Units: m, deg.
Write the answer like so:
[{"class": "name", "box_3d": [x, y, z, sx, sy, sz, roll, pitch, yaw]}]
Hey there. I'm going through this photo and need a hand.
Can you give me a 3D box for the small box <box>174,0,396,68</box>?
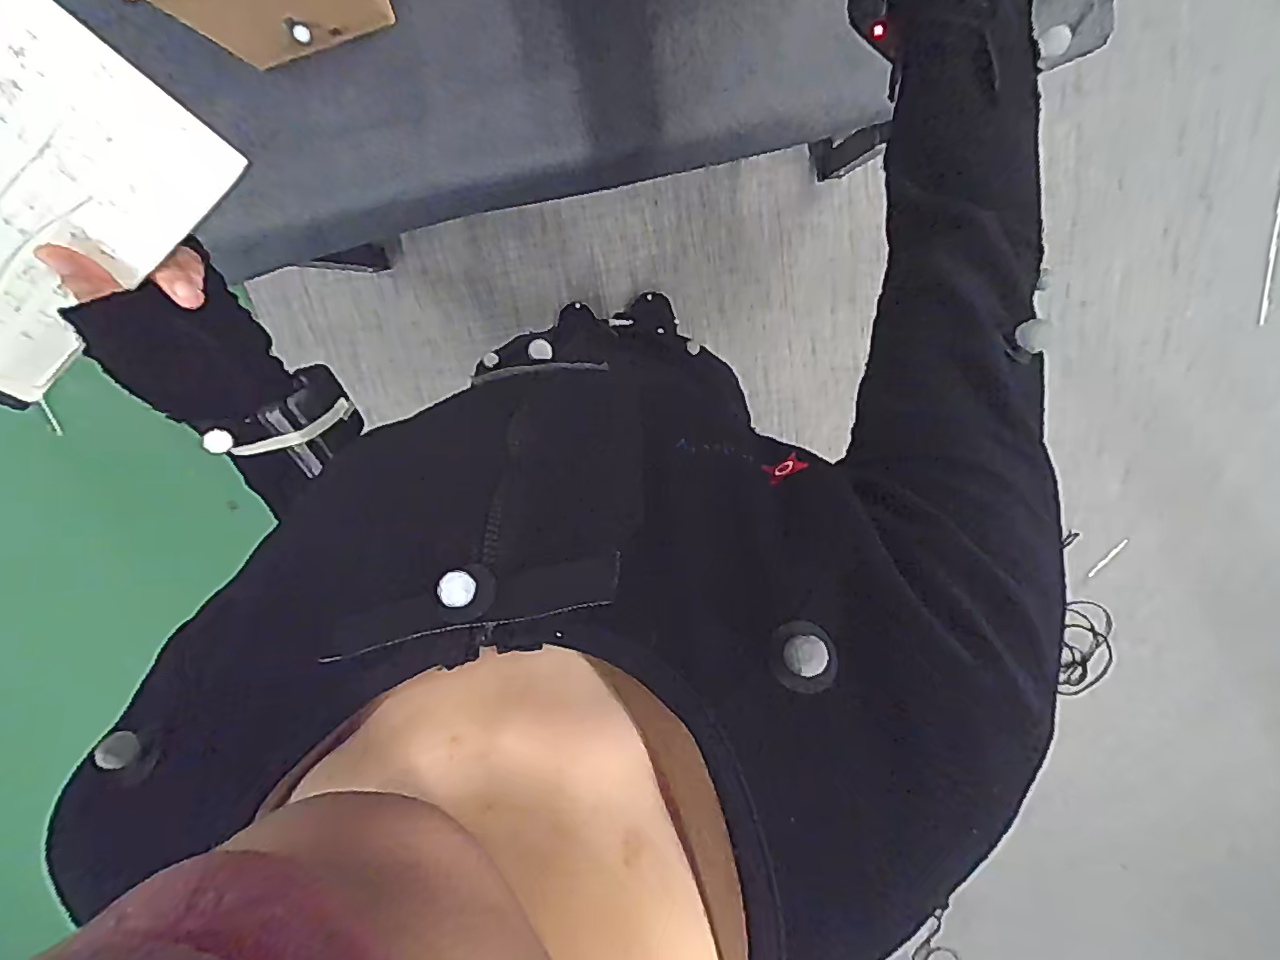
[{"class": "small box", "box_3d": [-0.356, -0.522, 0.485, 0.168, 0.176, 0.179, -14, 108, 5]}]
